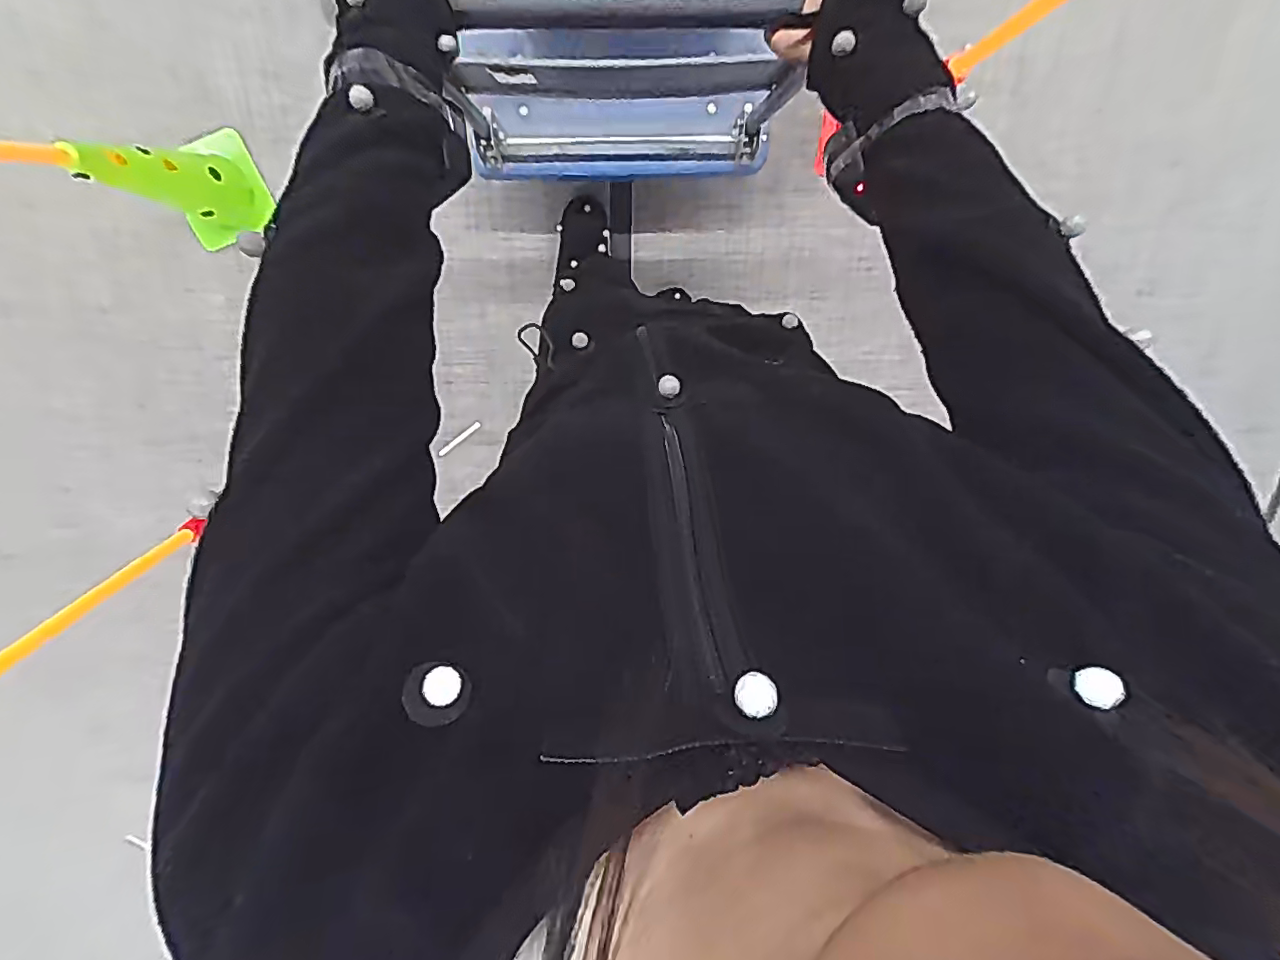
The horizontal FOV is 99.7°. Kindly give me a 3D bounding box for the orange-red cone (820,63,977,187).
[{"bbox_3d":[0.514,-0.703,1.022,0.199,0.360,0.198,6,110,-5],"label":"orange-red cone"}]
